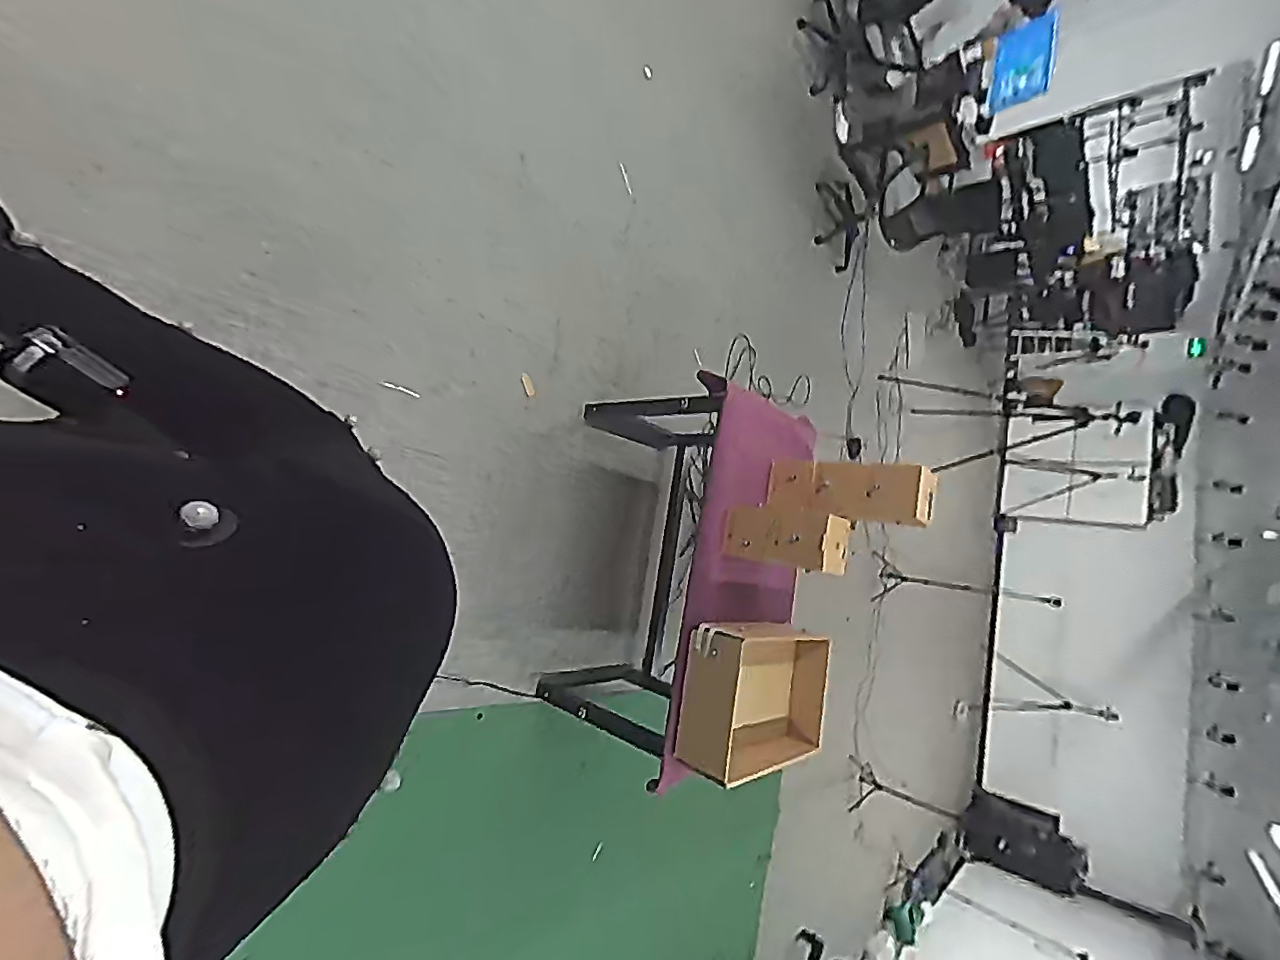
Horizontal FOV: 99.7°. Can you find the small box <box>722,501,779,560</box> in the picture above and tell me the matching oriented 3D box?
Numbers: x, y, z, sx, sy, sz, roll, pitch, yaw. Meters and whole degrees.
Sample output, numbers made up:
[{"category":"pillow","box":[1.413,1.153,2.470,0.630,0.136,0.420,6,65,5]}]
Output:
[{"category":"small box","box":[0.380,0.164,1.726,0.179,0.176,0.168,17,80,-48]}]

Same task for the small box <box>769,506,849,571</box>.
[{"category":"small box","box":[0.504,0.173,1.619,0.179,0.176,0.168,16,82,-47]}]

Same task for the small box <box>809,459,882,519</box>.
[{"category":"small box","box":[0.689,0.027,1.815,0.179,0.176,0.168,20,77,-46]}]

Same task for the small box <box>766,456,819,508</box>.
[{"category":"small box","box":[0.566,0.013,1.924,0.179,0.176,0.168,14,82,-48]}]
